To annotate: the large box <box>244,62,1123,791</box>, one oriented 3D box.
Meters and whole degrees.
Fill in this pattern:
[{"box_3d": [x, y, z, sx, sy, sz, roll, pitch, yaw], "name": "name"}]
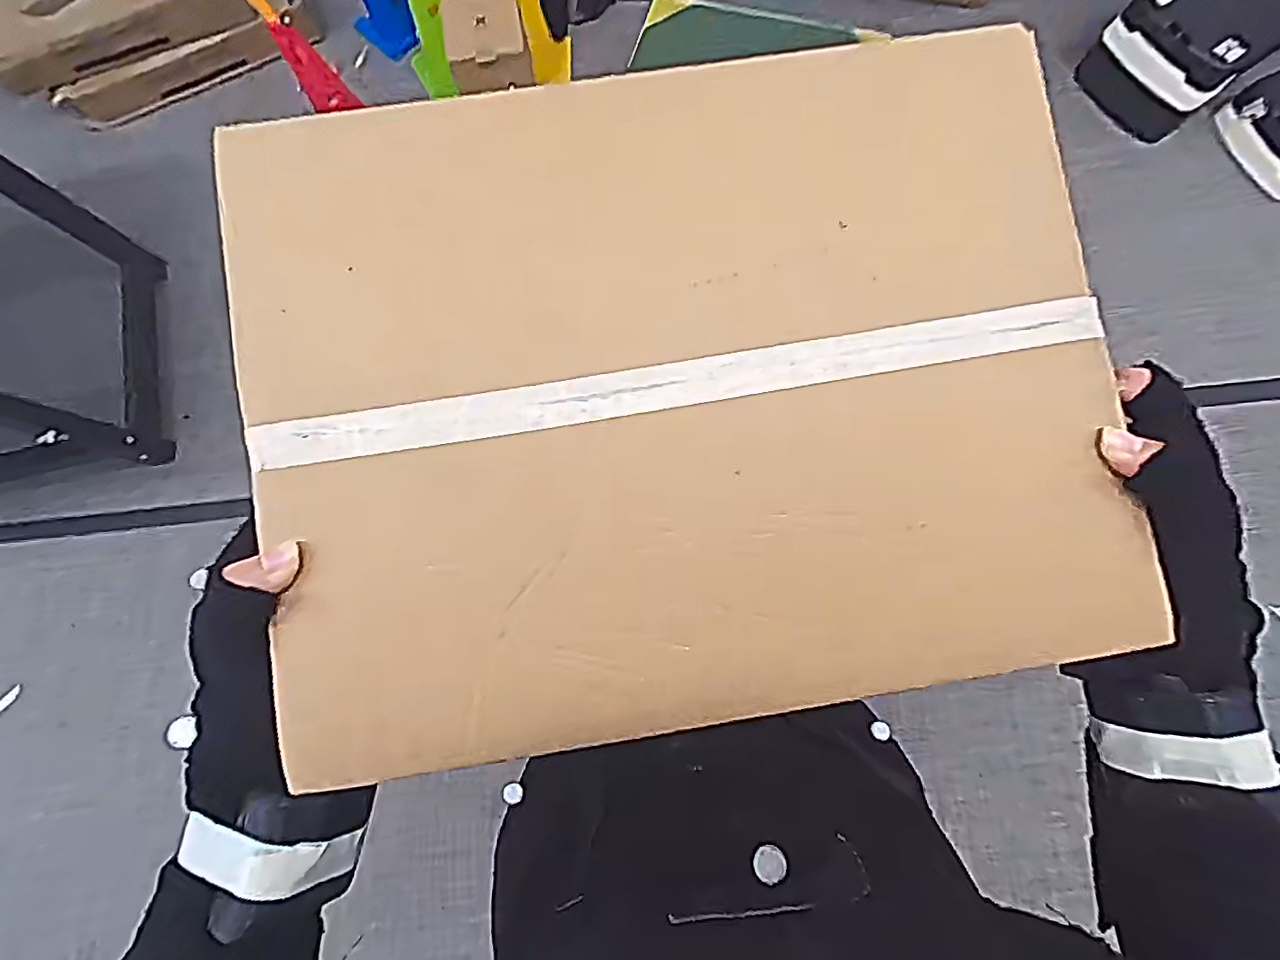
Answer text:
[{"box_3d": [0.017, -0.028, 0.417, 0.408, 0.320, 0.320, -10, 85, -2], "name": "large box"}]
